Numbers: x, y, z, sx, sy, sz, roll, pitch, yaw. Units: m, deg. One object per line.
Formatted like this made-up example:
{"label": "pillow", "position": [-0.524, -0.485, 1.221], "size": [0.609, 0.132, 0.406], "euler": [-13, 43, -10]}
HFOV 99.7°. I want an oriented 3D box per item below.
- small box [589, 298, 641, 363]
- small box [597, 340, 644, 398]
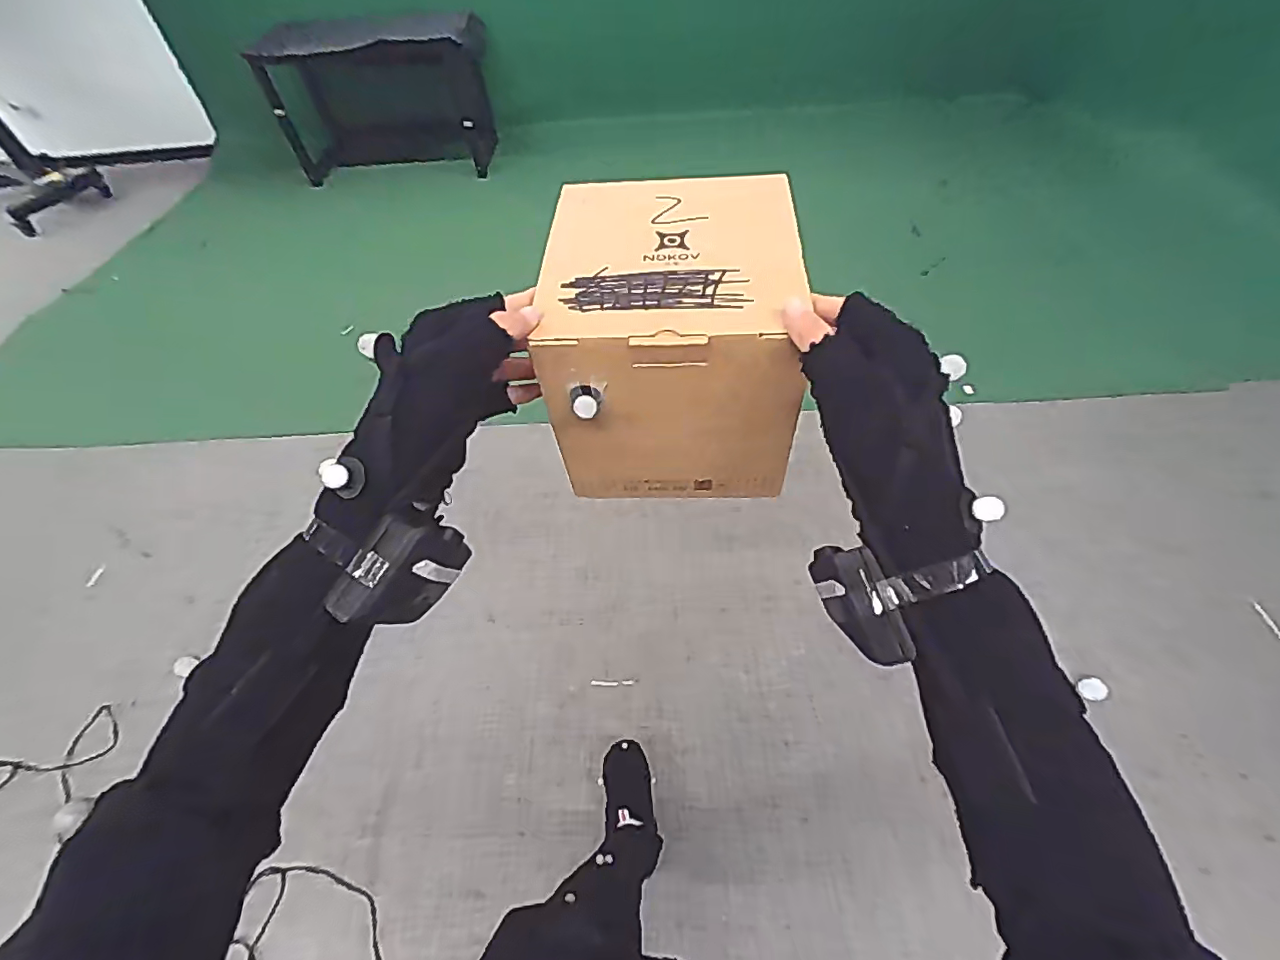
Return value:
{"label": "small box", "position": [-0.086, -0.544, 1.982], "size": [0.168, 0.176, 0.179], "euler": [-1, 50, 5]}
{"label": "small box", "position": [-0.072, -0.439, 2.107], "size": [0.168, 0.176, 0.179], "euler": [-3, 51, 4]}
